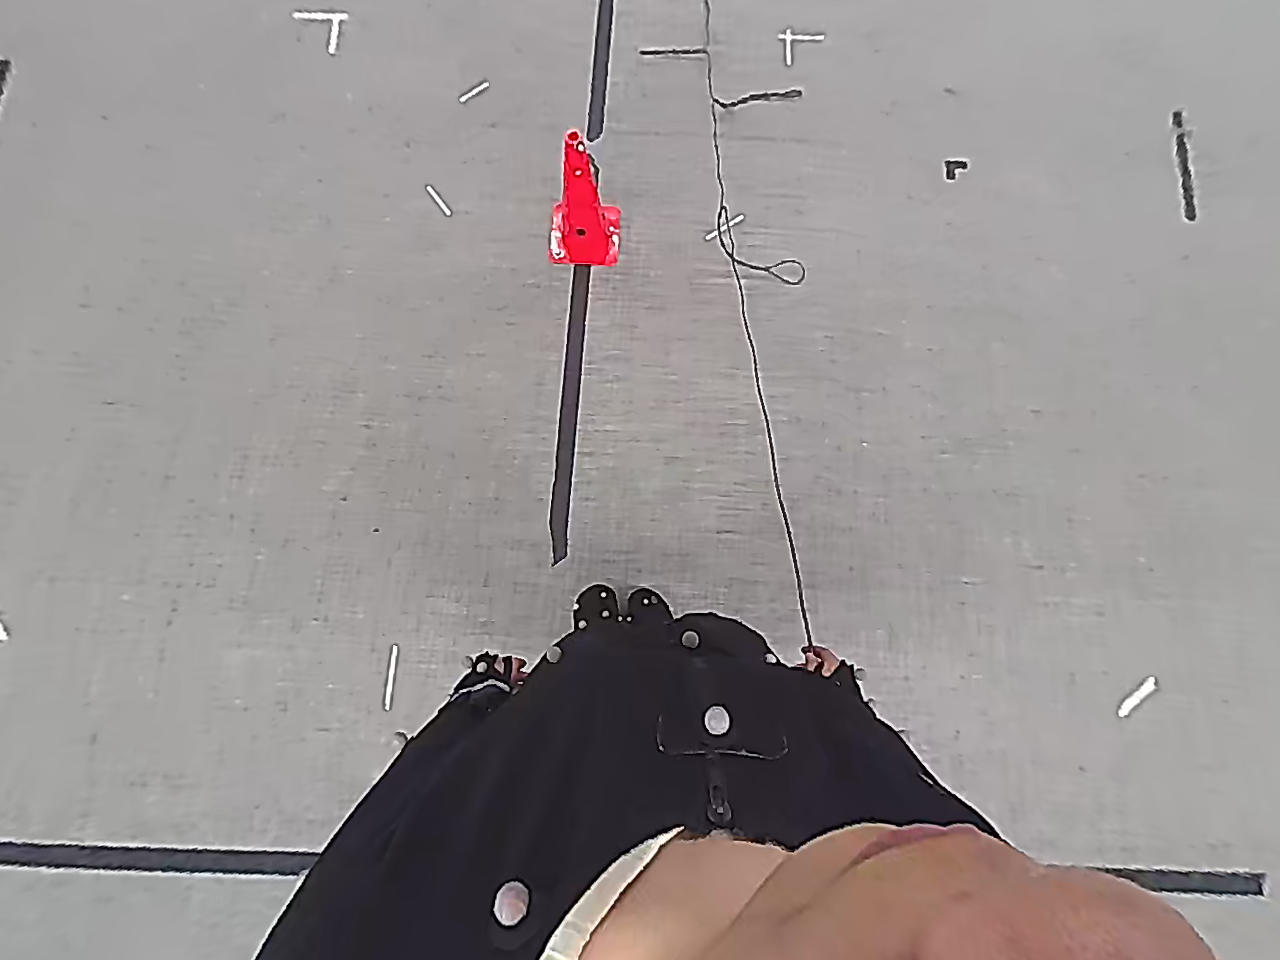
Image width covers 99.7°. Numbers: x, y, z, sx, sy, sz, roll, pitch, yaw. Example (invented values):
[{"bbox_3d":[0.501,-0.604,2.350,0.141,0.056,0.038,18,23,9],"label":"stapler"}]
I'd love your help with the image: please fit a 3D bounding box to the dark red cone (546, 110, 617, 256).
[{"bbox_3d":[-0.161,-0.773,1.404,0.201,0.394,0.202,2,78,-2],"label":"dark red cone"}]
